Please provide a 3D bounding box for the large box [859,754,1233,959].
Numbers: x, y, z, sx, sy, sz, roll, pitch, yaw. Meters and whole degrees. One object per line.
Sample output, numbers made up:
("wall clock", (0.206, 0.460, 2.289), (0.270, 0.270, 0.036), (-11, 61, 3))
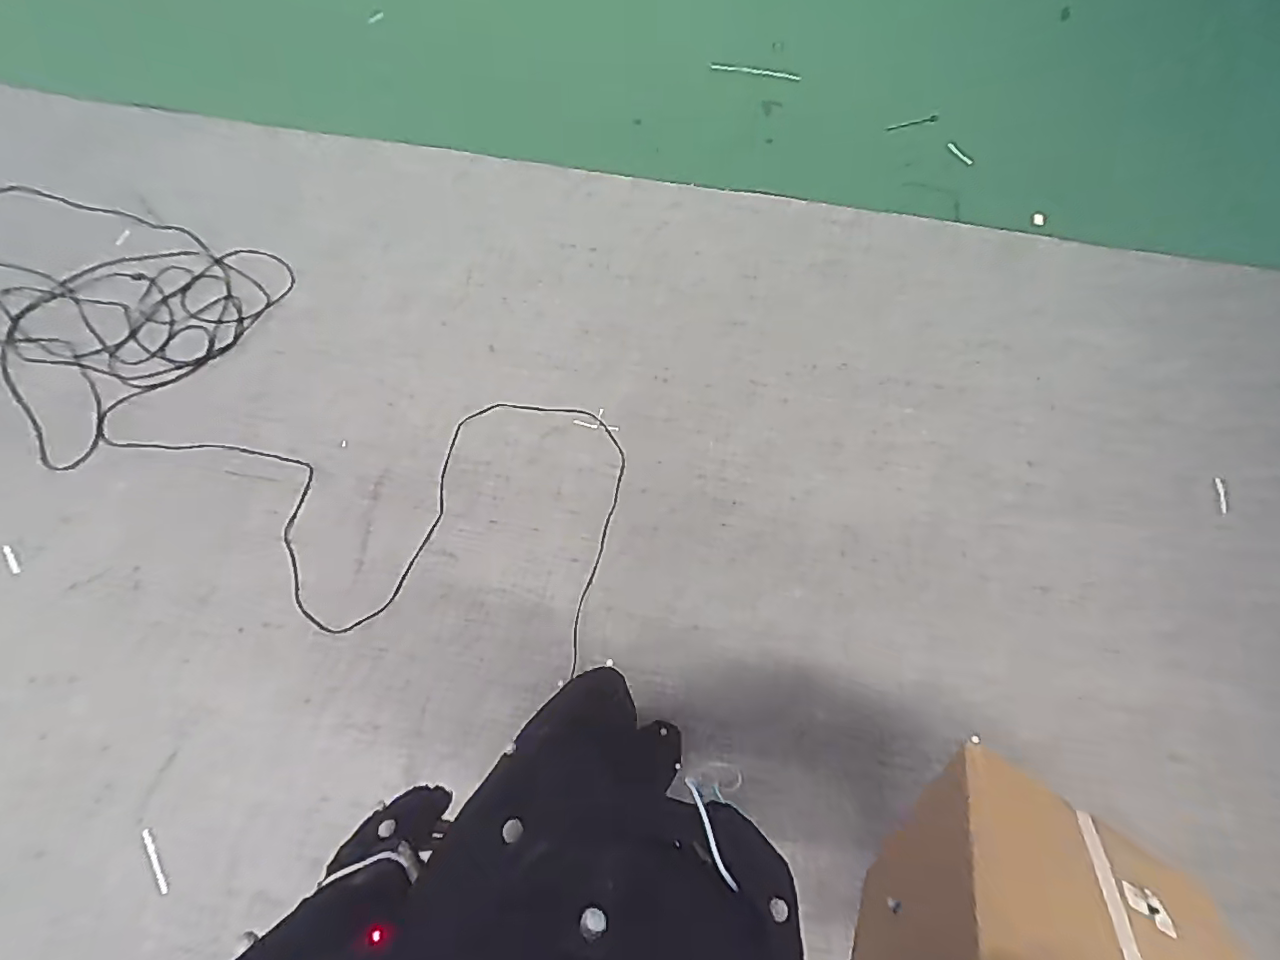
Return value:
("large box", (0.466, 0.636, 0.635), (0.320, 0.408, 0.320), (31, 108, 23))
